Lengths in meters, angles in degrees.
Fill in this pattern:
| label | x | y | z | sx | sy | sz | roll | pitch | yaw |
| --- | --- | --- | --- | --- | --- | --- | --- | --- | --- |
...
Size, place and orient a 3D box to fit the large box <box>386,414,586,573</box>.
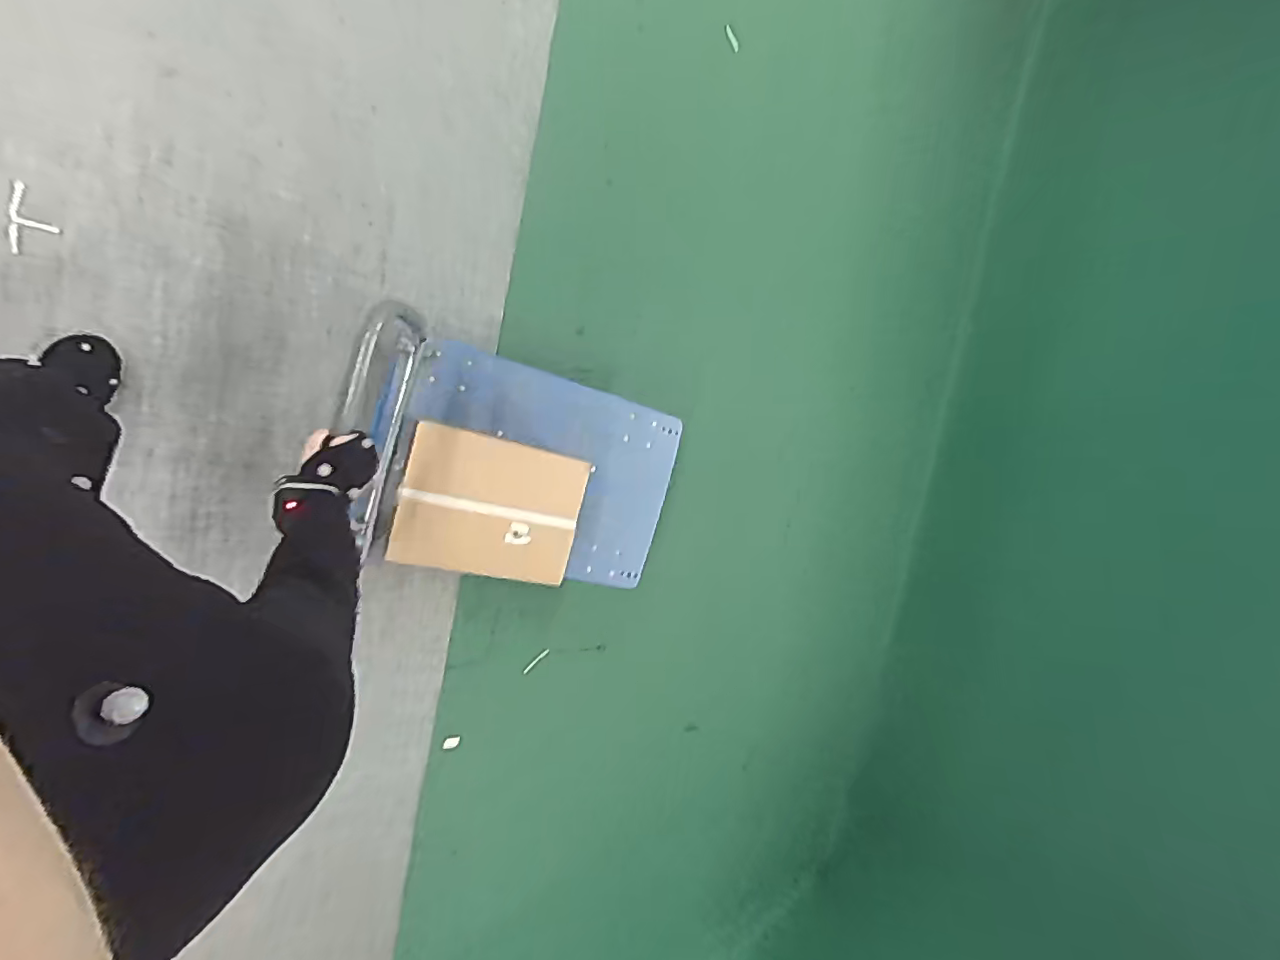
| label | x | y | z | sx | sy | sz | roll | pitch | yaw |
| --- | --- | --- | --- | --- | --- | --- | --- | --- | --- |
| large box | -0.403 | 0.026 | 1.377 | 0.408 | 0.320 | 0.320 | 14 | 93 | -26 |
